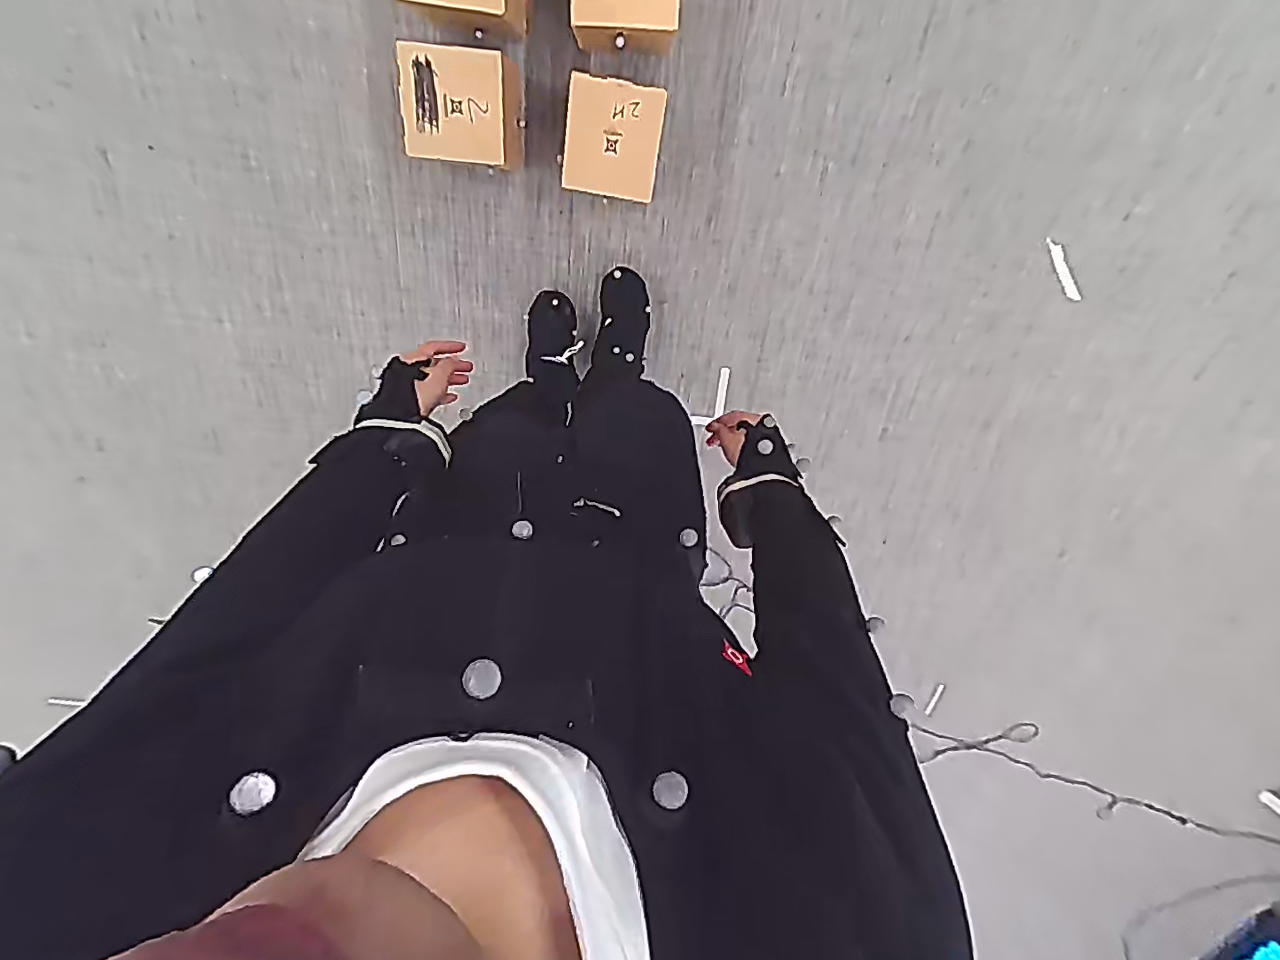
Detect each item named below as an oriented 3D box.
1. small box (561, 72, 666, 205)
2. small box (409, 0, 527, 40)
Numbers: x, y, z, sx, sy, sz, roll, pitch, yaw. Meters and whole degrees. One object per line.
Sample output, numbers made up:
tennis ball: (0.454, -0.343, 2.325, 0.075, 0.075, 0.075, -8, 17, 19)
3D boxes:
small box: (-0.048, -0.627, 1.014, 0.168, 0.176, 0.179, 8, 117, -5)
small box: (-0.289, -0.861, 0.893, 0.179, 0.176, 0.168, 7, 117, -3)
